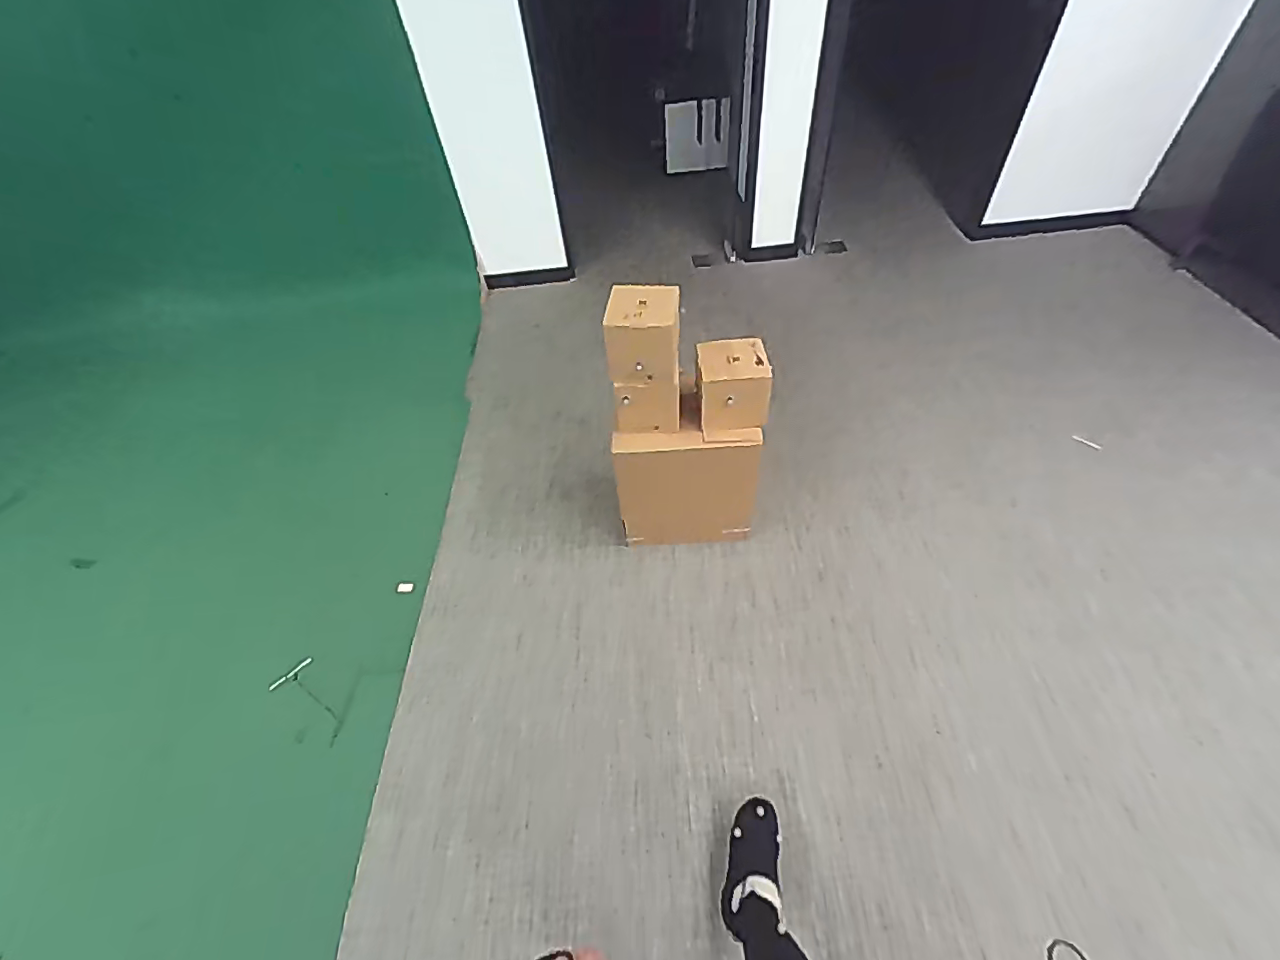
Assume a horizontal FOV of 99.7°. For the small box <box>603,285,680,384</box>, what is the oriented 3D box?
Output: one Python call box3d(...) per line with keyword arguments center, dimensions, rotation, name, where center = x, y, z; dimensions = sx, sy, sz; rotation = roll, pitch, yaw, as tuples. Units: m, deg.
box3d(center=(0.011, -0.359, 1.336), dimensions=(0.168, 0.176, 0.179), rotation=(2, 50, 8), name="small box")
